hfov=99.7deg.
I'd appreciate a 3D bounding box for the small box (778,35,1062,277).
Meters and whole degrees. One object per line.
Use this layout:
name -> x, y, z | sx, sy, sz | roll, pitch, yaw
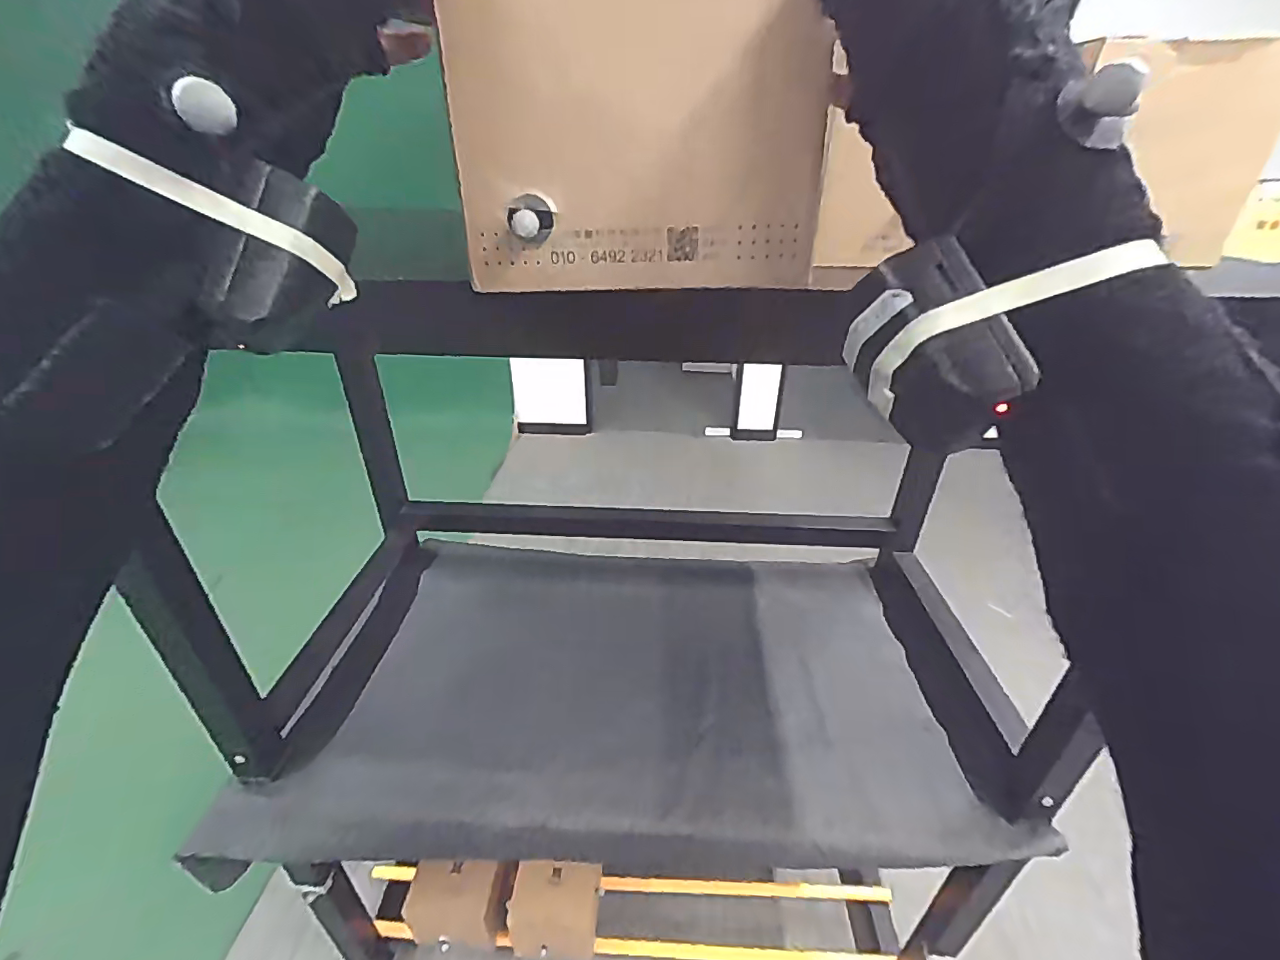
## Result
small box -> 0.237, -0.301, 0.517 | 0.168, 0.176, 0.179 | 2, 31, 2
